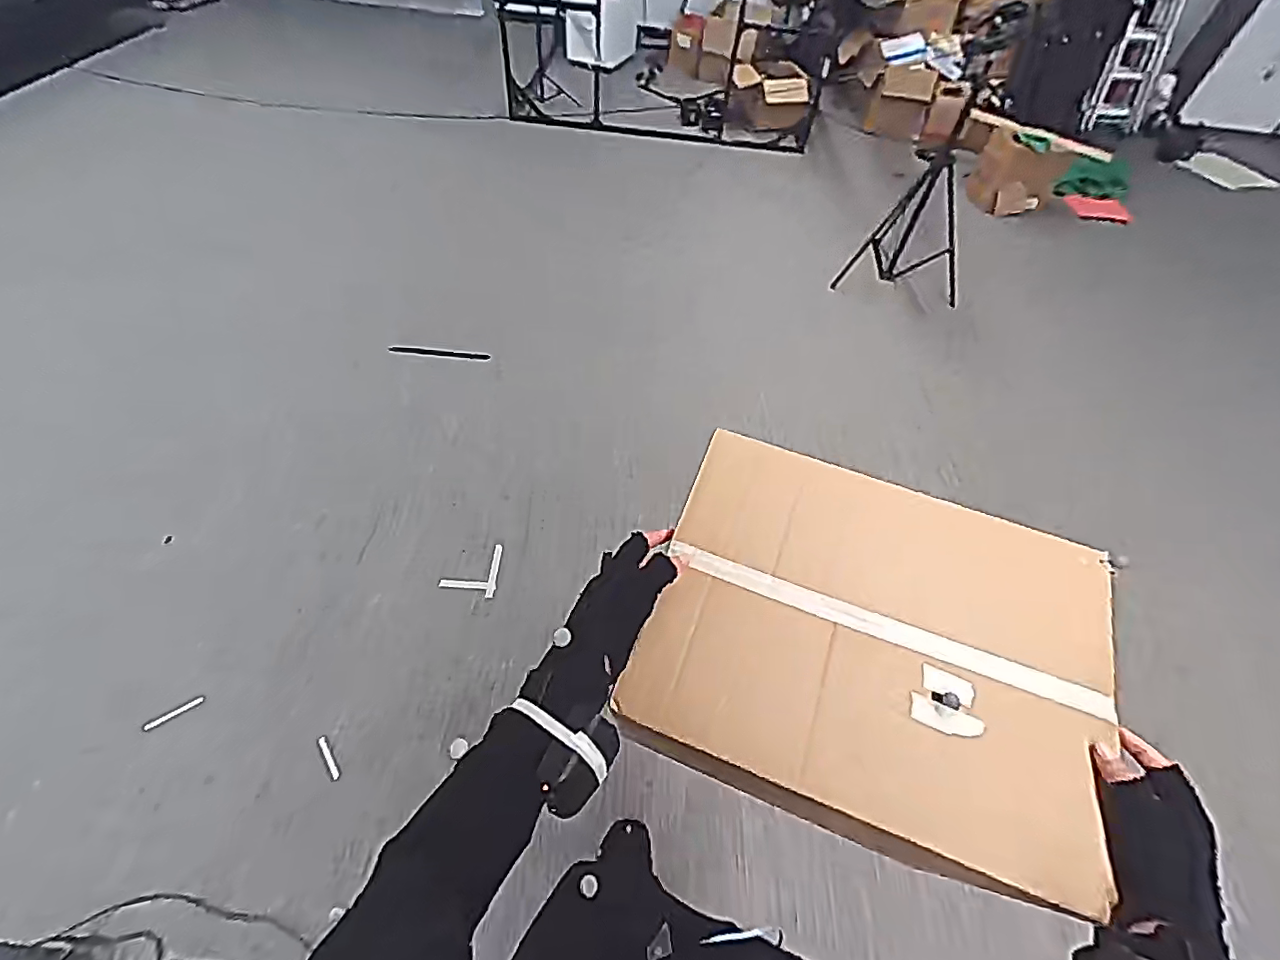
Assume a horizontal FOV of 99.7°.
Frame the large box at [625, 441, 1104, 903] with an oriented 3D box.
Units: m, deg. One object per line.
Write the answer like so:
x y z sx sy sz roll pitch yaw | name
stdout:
0.219 0.210 0.641 0.408 0.320 0.320 20 64 10 | large box
